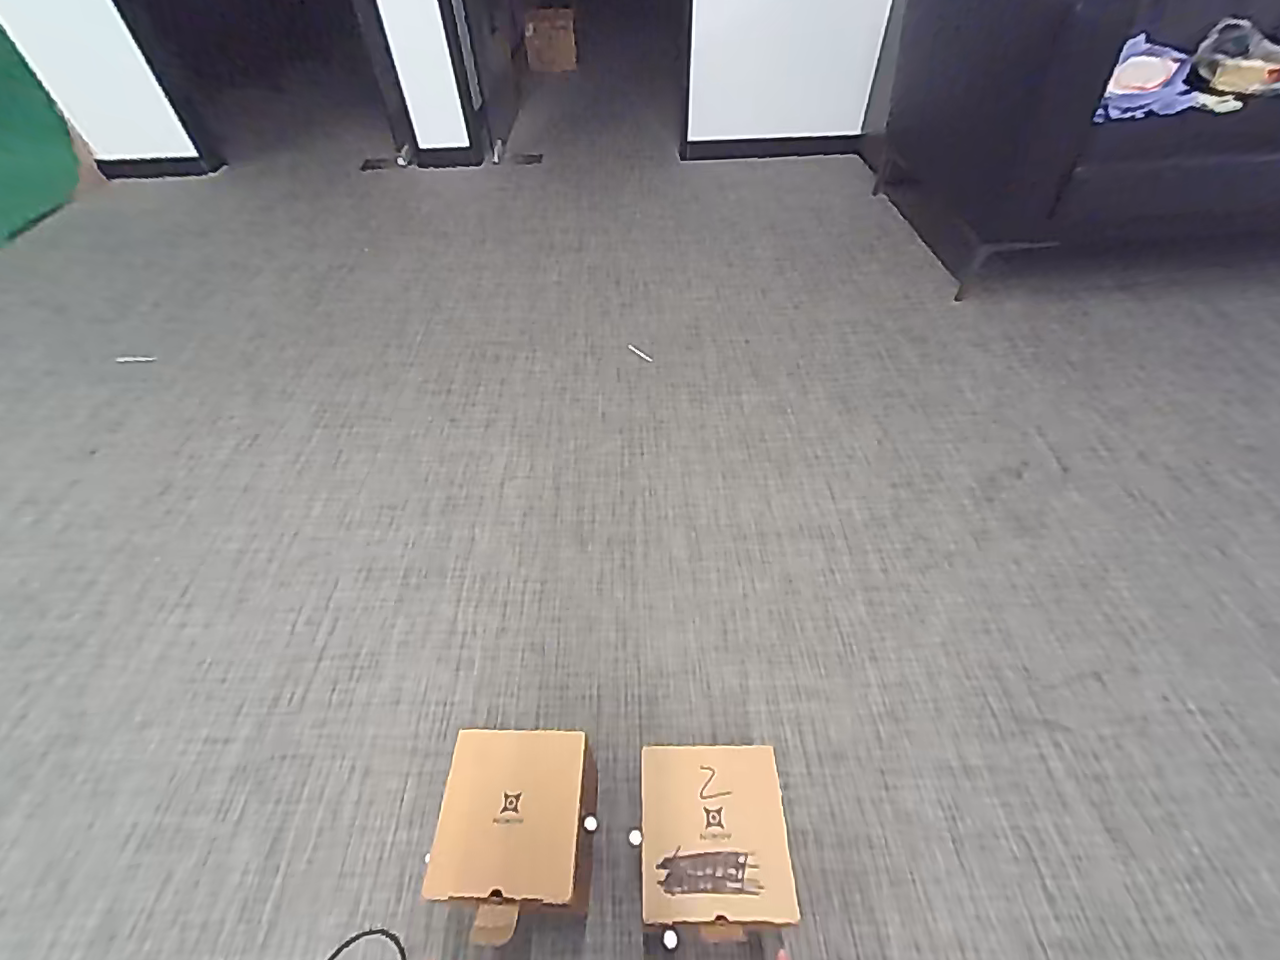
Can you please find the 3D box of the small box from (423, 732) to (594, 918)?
[{"bbox_3d":[-0.152,0.445,0.697,0.168,0.176,0.179,0,49,2],"label":"small box"}]
